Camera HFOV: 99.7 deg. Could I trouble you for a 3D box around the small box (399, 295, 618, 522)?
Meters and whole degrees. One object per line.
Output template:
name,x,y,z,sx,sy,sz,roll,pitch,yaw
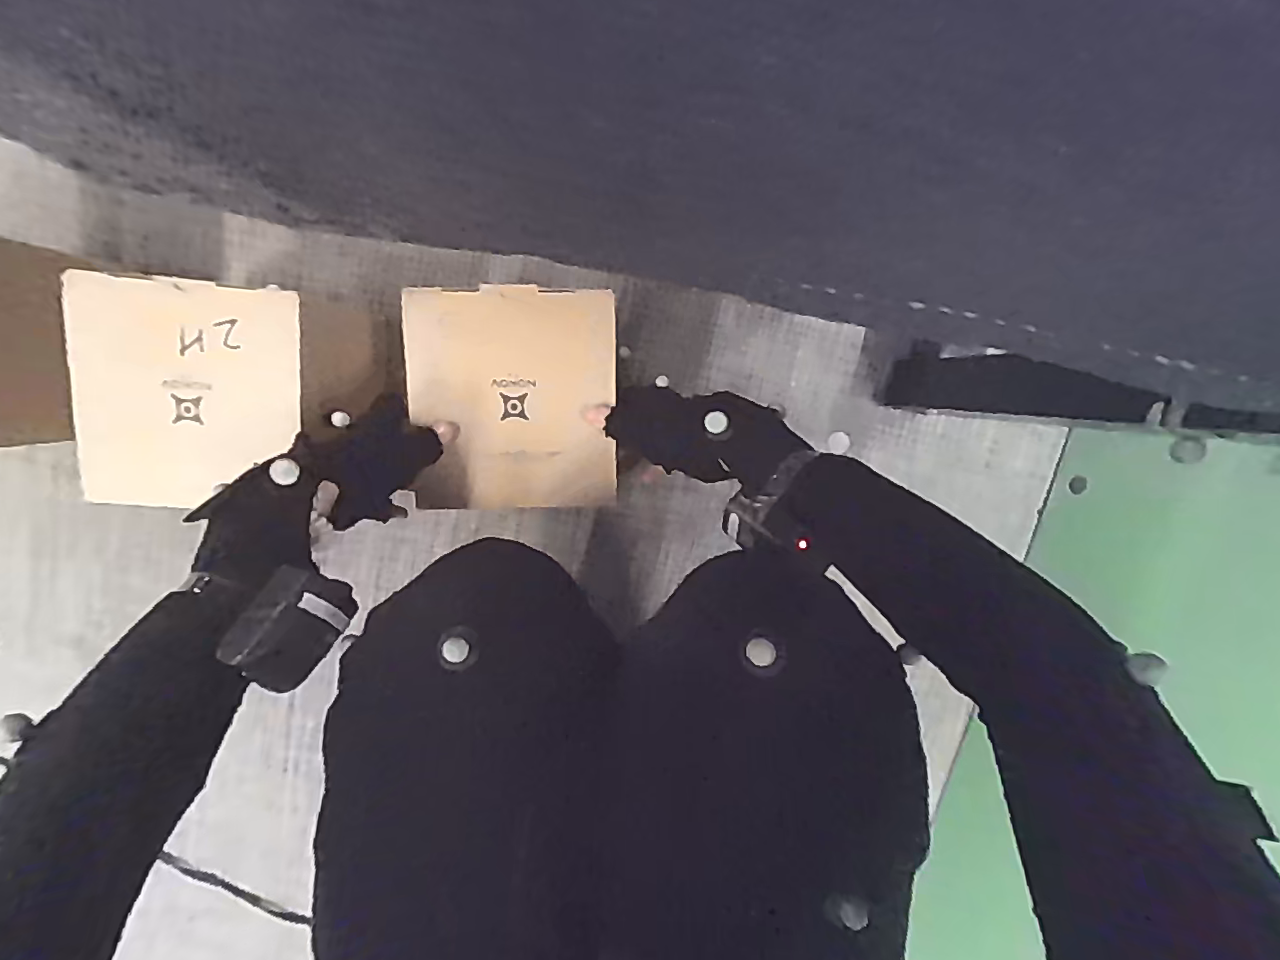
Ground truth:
small box,-0.111,-0.066,0.504,0.168,0.176,0.179,-2,100,-8
